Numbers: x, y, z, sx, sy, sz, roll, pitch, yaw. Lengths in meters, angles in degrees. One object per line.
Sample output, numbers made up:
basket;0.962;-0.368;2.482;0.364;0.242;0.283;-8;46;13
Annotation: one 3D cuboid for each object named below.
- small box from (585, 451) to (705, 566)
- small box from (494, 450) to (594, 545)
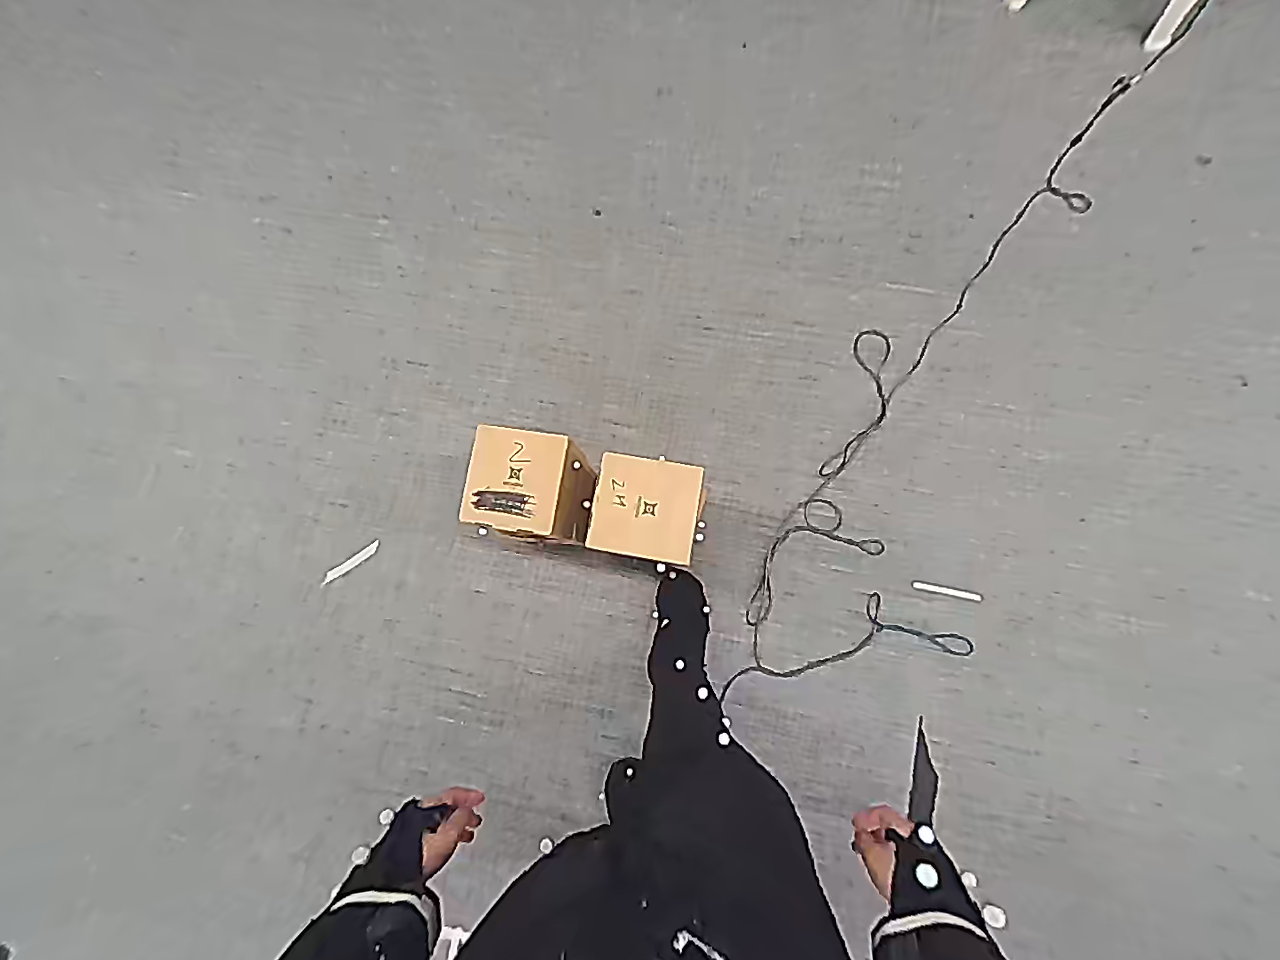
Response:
small box;0.016;0.056;0.966;0.179;0.176;0.168;9;81;7
small box;-0.196;0.043;1.158;0.168;0.176;0.179;3;81;5
